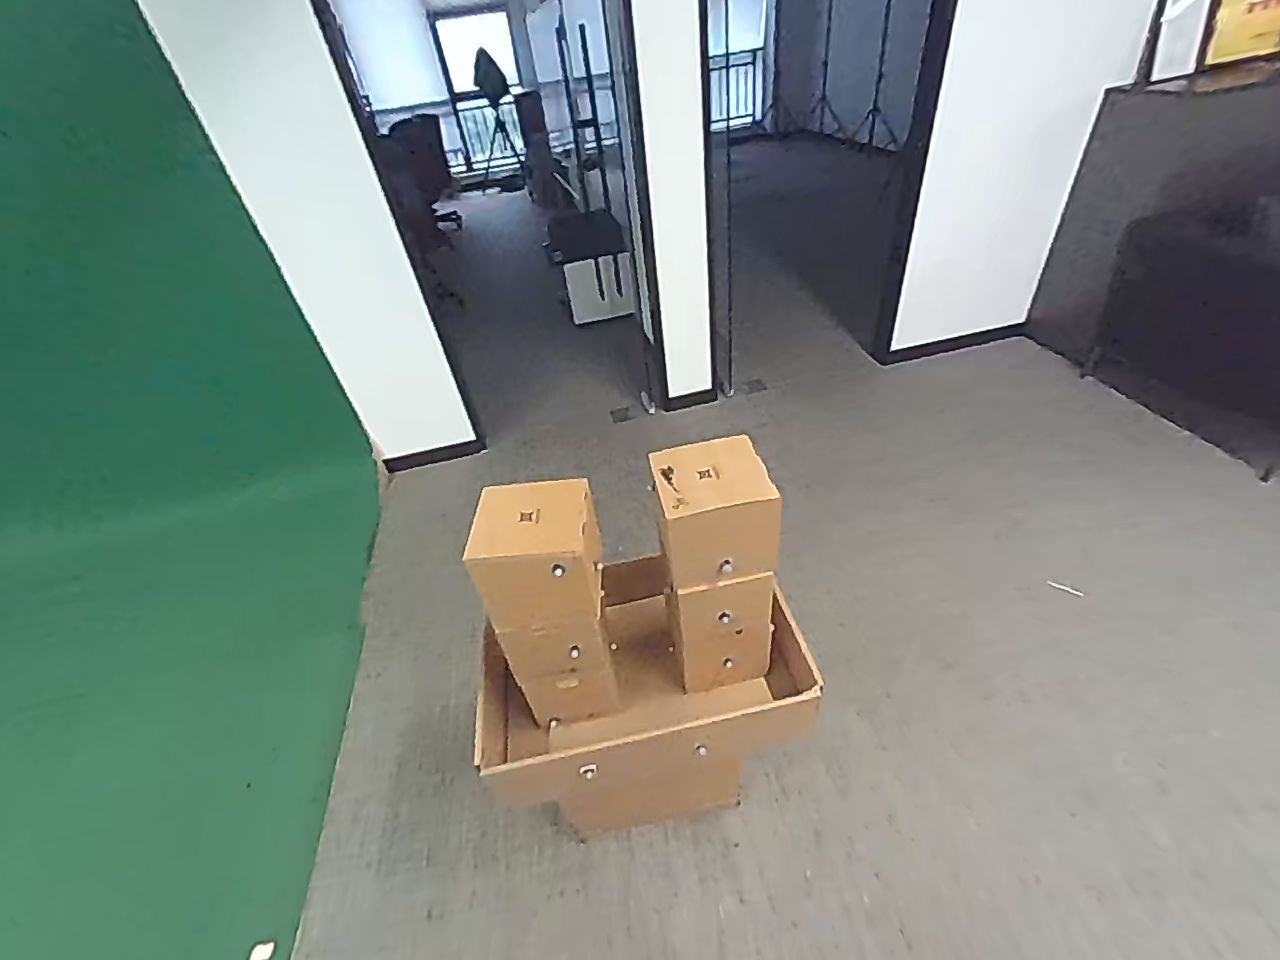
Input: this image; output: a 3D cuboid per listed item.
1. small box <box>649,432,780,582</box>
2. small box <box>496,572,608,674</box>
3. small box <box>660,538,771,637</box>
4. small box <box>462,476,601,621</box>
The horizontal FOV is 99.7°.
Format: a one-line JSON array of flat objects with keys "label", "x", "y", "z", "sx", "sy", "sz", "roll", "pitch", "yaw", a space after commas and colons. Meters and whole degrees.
[{"label": "small box", "x": 0.118, "y": 0.045, "z": 0.901, "sx": 0.179, "sy": 0.176, "sz": 0.168, "roll": -11, "pitch": 40, "yaw": -2}, {"label": "small box", "x": -0.152, "y": 0.236, "z": 0.988, "sx": 0.168, "sy": 0.176, "sz": 0.179, "roll": -8, "pitch": 39, "yaw": 0}, {"label": "small box", "x": 0.136, "y": 0.172, "z": 1.005, "sx": 0.168, "sy": 0.176, "sz": 0.179, "roll": -11, "pitch": 40, "yaw": -3}, {"label": "small box", "x": -0.164, "y": 0.114, "z": 0.881, "sx": 0.179, "sy": 0.176, "sz": 0.168, "roll": -4, "pitch": 40, "yaw": 1}]
